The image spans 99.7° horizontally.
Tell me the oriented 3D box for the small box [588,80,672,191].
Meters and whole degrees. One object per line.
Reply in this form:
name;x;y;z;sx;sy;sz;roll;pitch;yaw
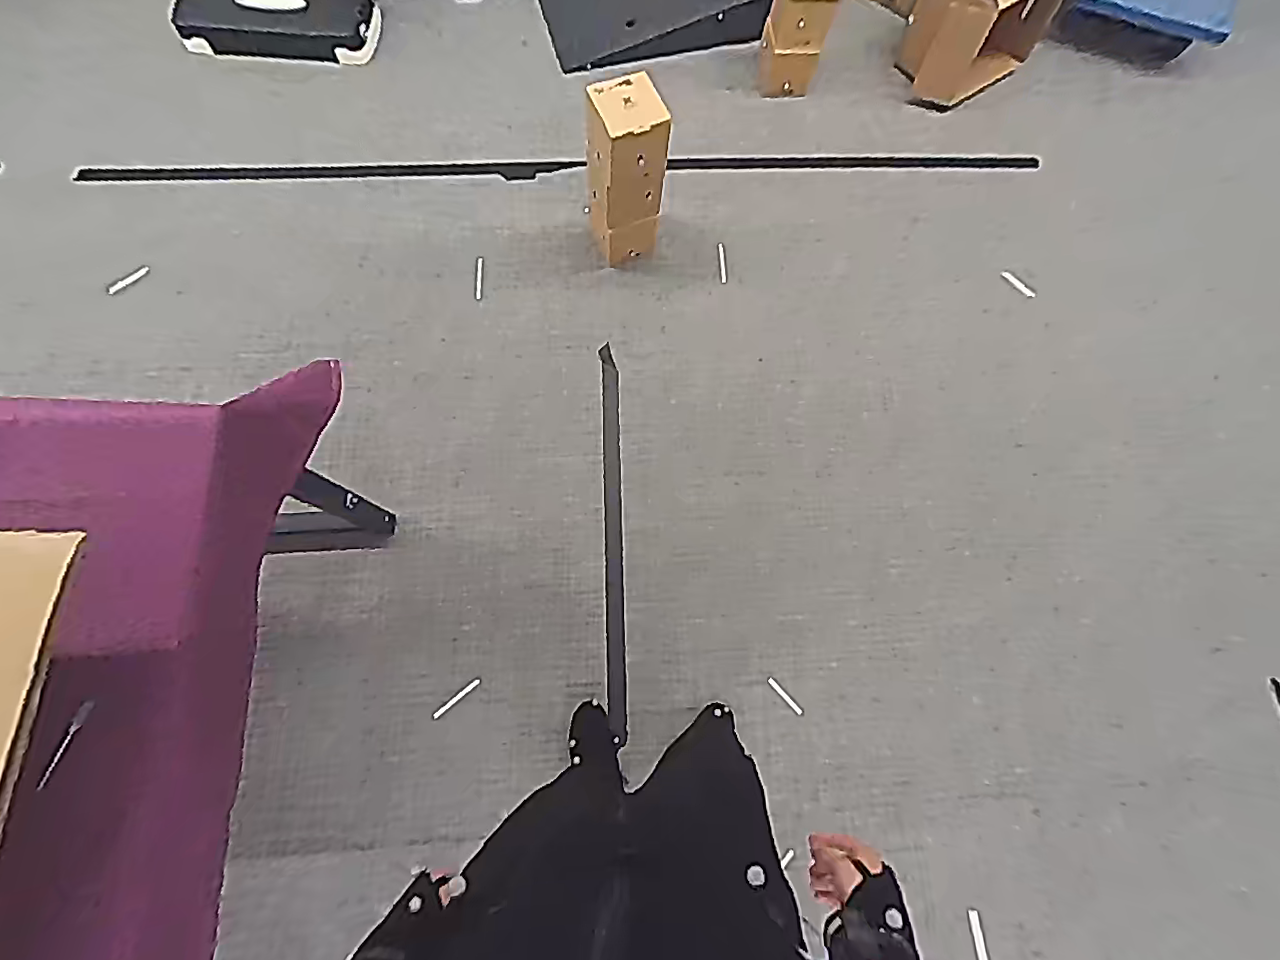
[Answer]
small box;-0.028;-0.901;1.431;0.168;0.176;0.179;-21;76;-9
